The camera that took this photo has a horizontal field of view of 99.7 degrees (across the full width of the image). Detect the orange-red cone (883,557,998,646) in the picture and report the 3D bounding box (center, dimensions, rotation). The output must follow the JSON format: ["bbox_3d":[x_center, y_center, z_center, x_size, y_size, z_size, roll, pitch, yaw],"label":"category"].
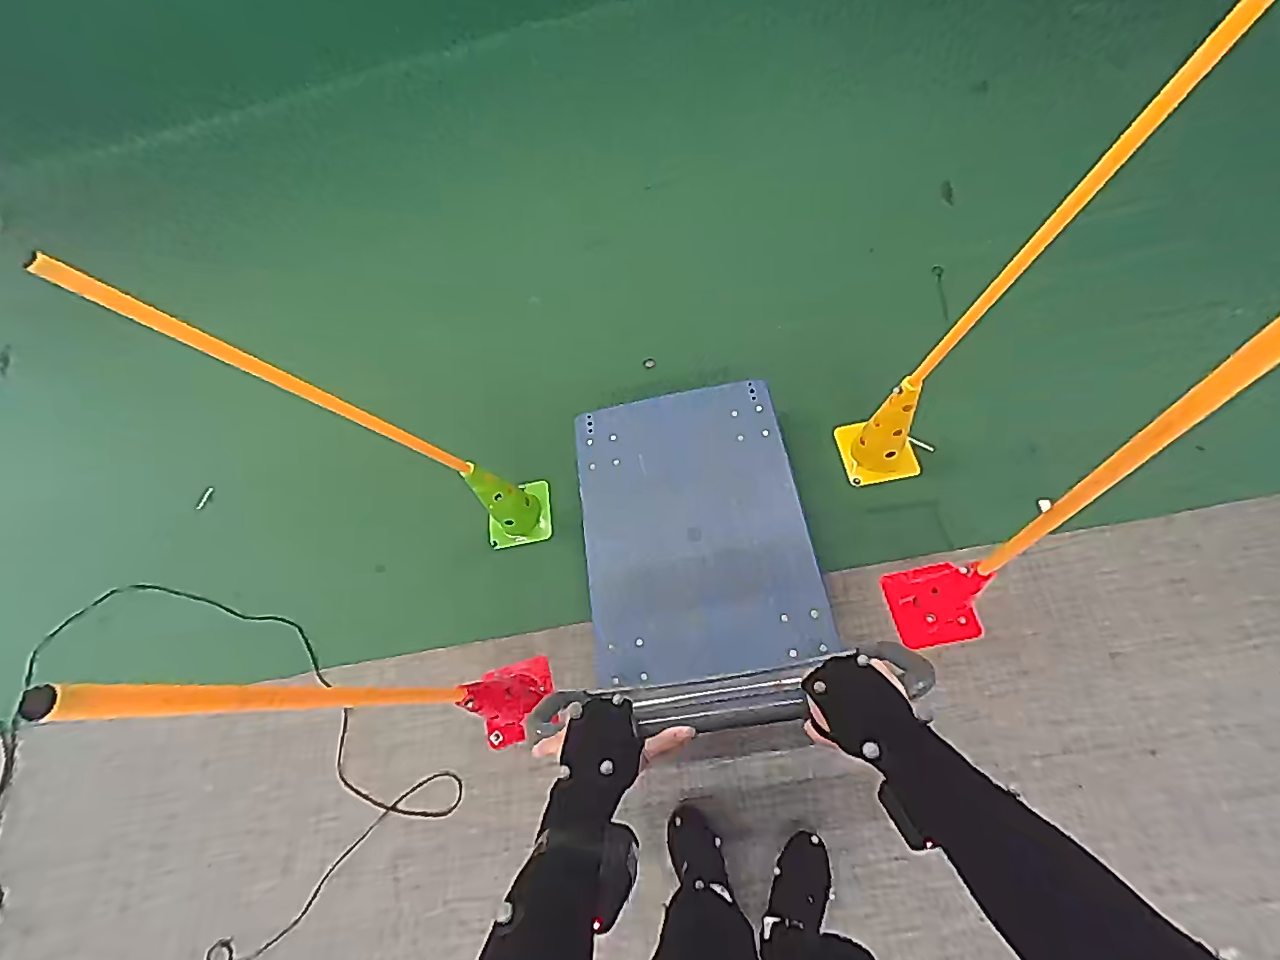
[{"bbox_3d":[0.717,0.242,1.230,0.198,0.360,0.199,-11,63,4],"label":"orange-red cone"}]

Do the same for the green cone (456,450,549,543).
[{"bbox_3d":[-0.413,0.019,1.529,0.200,0.368,0.202,-12,64,6],"label":"green cone"}]
